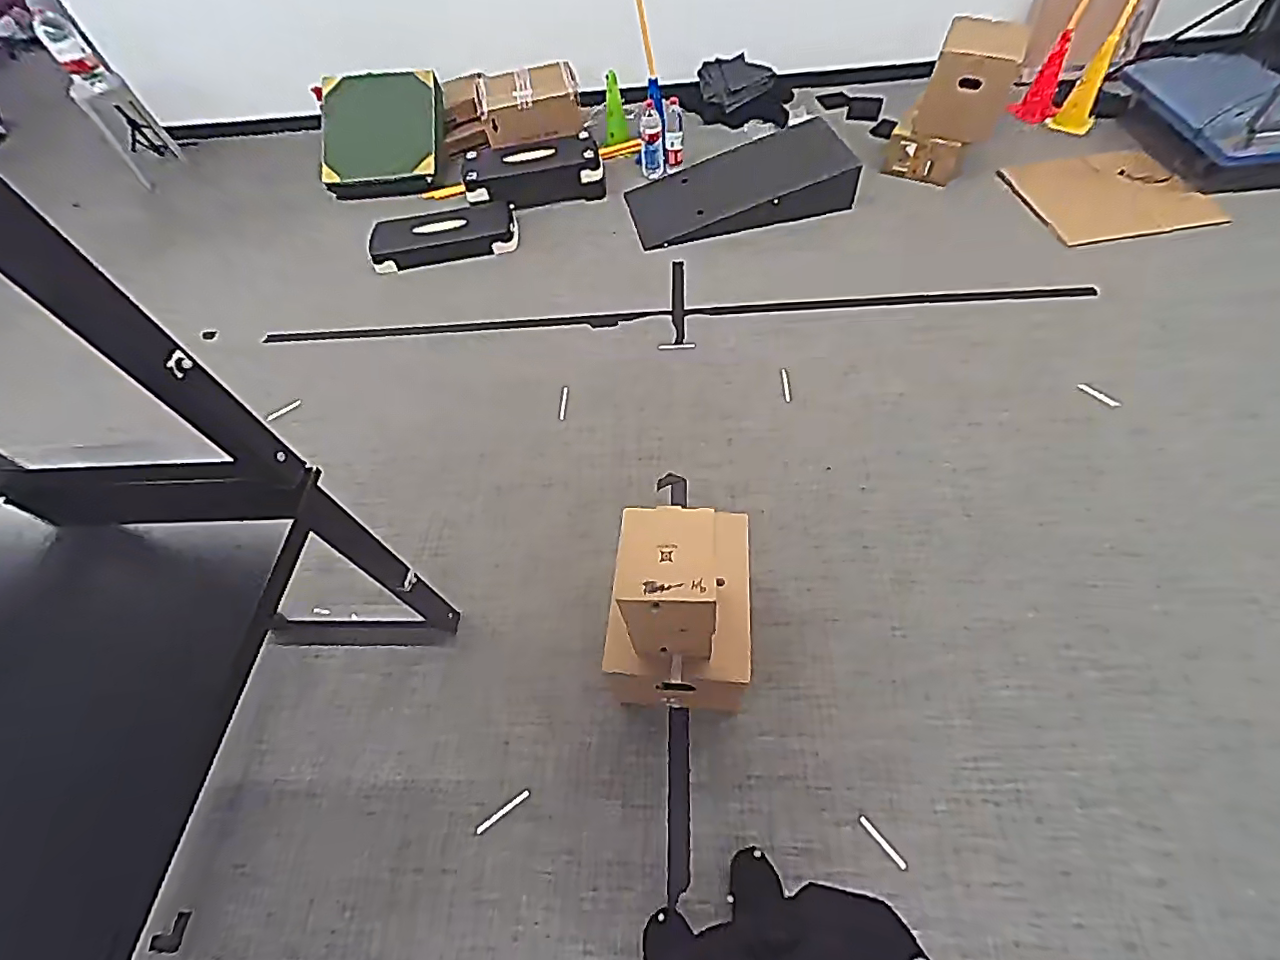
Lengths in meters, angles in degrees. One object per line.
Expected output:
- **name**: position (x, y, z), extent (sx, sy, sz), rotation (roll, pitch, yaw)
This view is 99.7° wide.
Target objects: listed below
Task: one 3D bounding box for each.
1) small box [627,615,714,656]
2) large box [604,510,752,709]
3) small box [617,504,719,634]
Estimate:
- **small box**: position (0.070, 0.247, 1.114), extent (0.168, 0.176, 0.179), rotation (1, 57, 8)
- **large box**: position (0.103, 0.327, 1.352), extent (0.320, 0.320, 0.408), rotation (2, 56, 6)
- **small box**: position (0.057, 0.161, 0.975), extent (0.168, 0.176, 0.179), rotation (0, 56, 8)
